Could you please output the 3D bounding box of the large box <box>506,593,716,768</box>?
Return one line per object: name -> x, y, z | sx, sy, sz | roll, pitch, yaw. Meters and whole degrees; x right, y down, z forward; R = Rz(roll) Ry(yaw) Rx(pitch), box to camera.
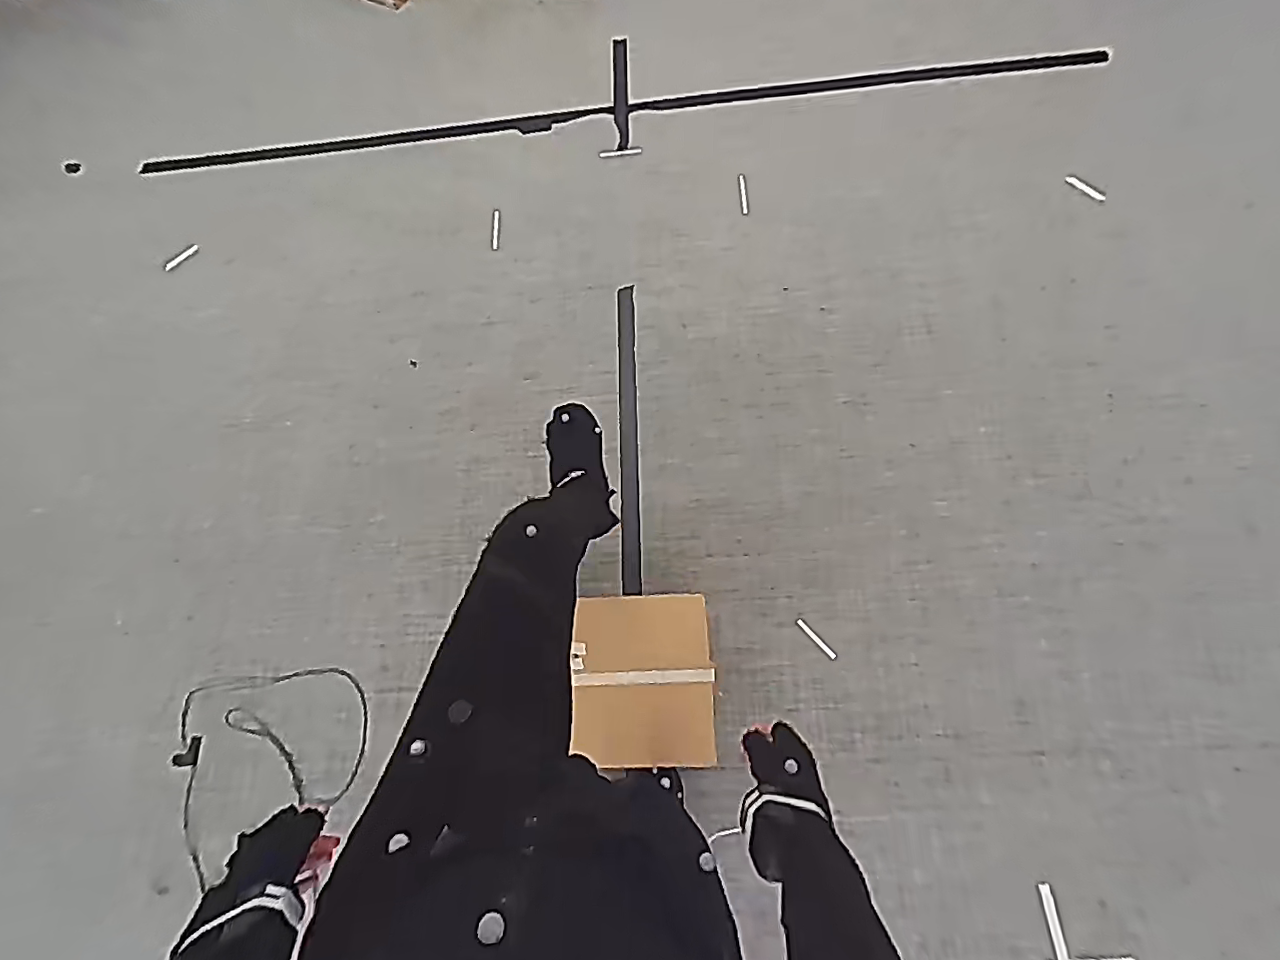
large box -> -0.050, 0.428, 1.196 | 0.408, 0.320, 0.320 | -3, 73, 5
